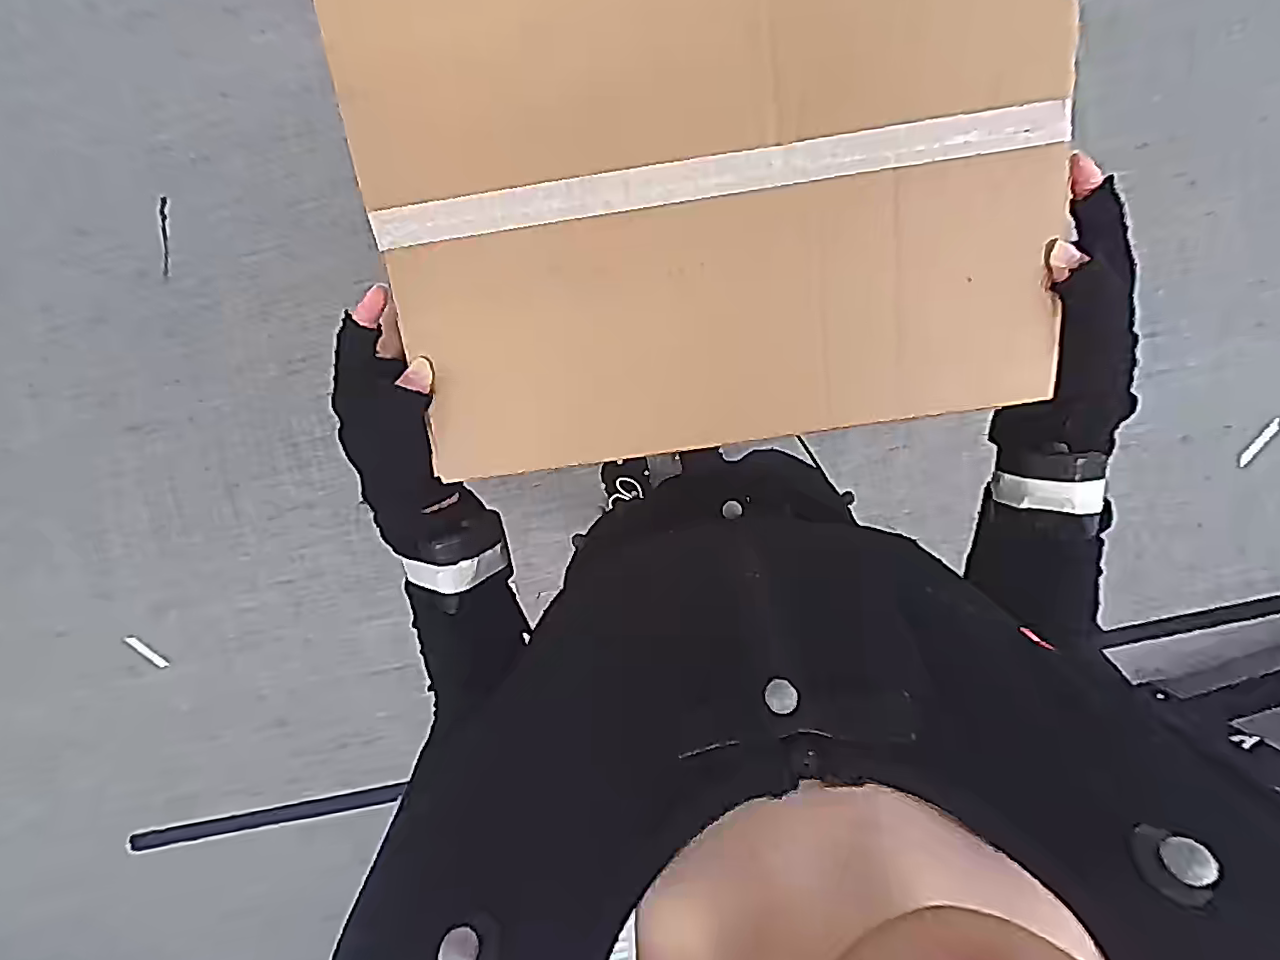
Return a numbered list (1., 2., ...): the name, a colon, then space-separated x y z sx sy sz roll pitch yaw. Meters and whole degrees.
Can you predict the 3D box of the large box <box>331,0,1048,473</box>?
1. large box: 0.039 -0.217 0.472 0.408 0.320 0.320 -8 106 2
